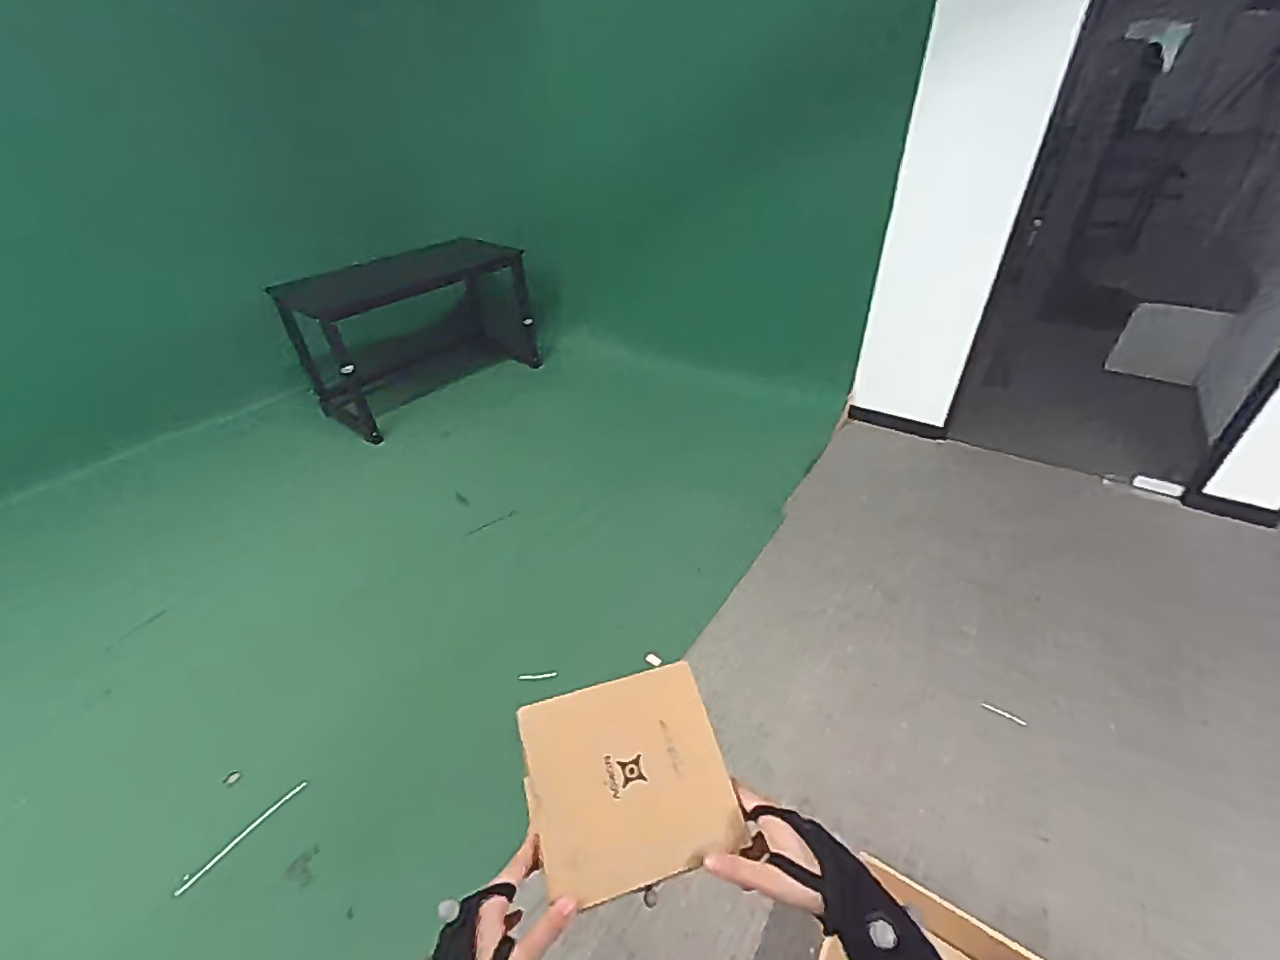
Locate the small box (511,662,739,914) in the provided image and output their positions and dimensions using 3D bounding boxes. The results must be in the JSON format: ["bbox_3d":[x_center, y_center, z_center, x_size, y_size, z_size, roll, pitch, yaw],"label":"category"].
[{"bbox_3d":[-0.020,0.314,0.549,0.179,0.176,0.168,-13,53,-12],"label":"small box"}]
